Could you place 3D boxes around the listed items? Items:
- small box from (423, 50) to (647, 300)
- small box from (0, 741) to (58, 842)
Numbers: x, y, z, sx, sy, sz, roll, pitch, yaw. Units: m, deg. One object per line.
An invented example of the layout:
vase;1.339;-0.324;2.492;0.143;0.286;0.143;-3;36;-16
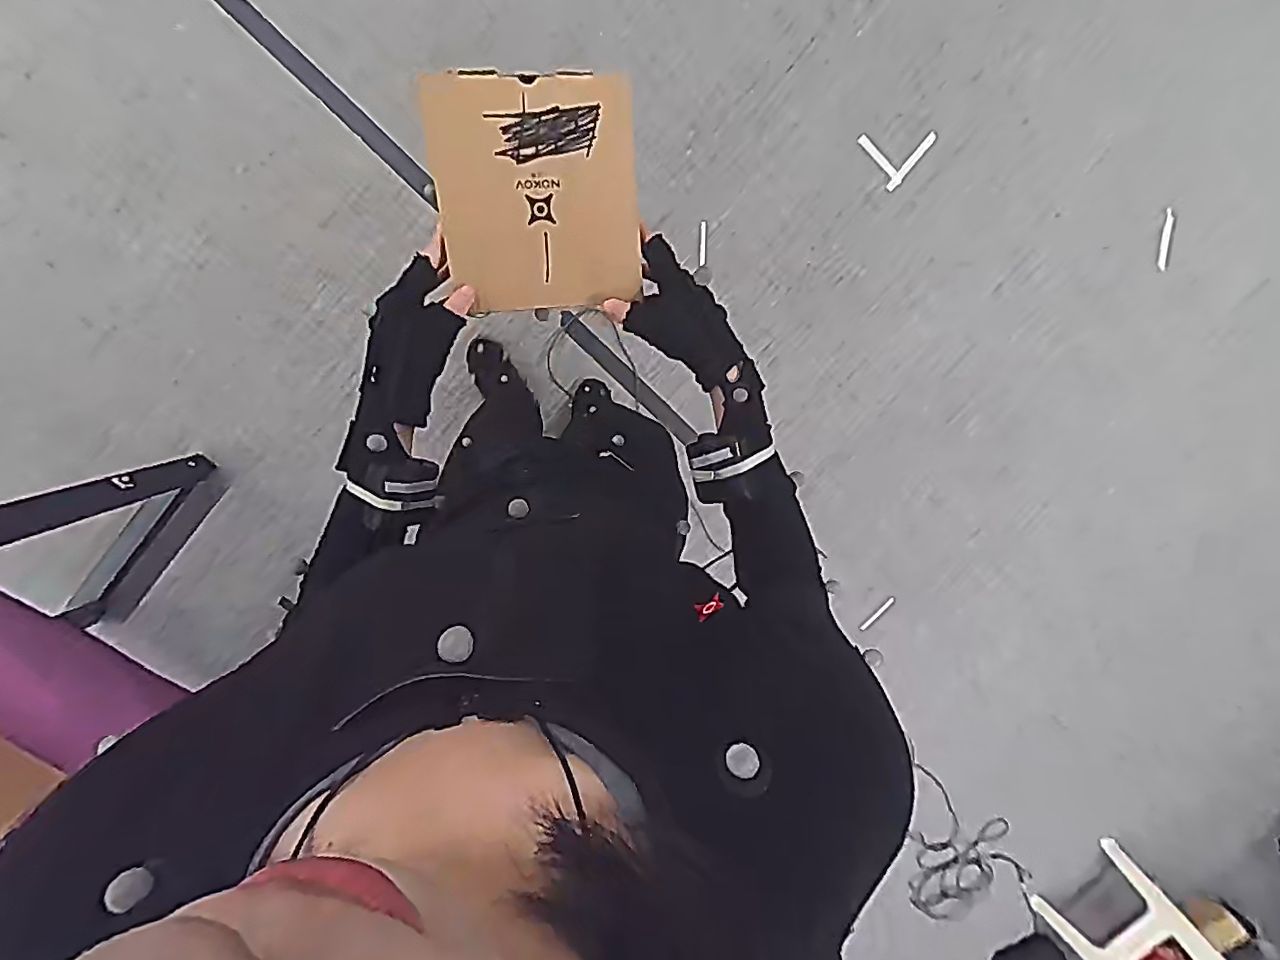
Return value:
small box;-0.094;-0.264;0.508;0.168;0.176;0.179;-7;111;-10
small box;-0.946;0.446;0.695;0.168;0.176;0.179;-43;104;6
